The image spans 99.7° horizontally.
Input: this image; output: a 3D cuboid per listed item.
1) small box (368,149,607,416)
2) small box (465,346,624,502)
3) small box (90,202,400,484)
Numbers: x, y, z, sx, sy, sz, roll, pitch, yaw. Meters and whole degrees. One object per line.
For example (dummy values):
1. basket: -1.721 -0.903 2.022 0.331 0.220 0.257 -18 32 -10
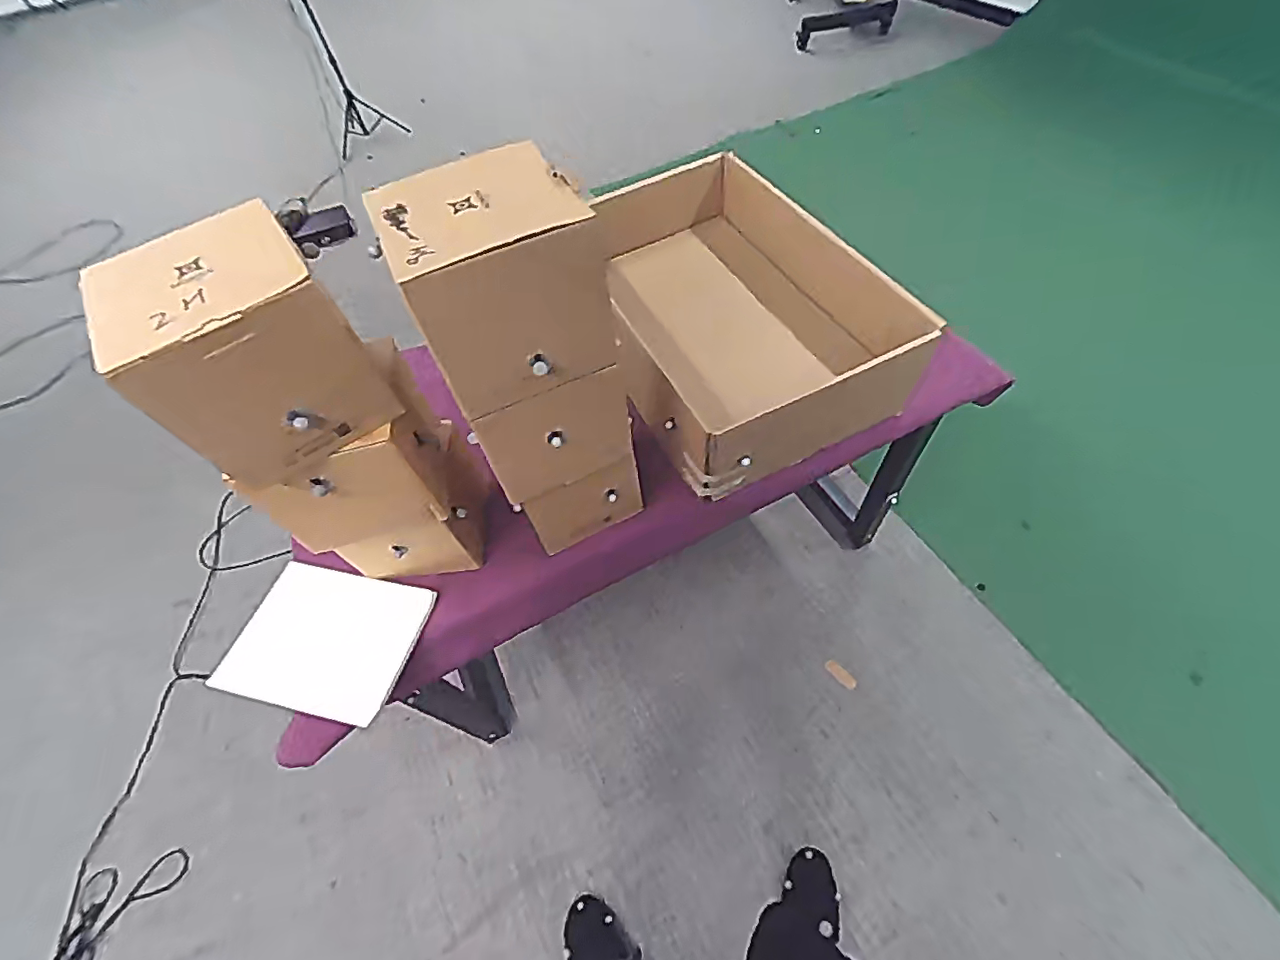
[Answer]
1. small box: -0.142 -0.197 0.550 0.179 0.176 0.168 -24 56 -12
2. small box: -0.128 -0.104 0.685 0.179 0.176 0.168 -24 56 -10
3. small box: -0.371 -0.129 0.529 0.168 0.176 0.179 -33 60 -15
